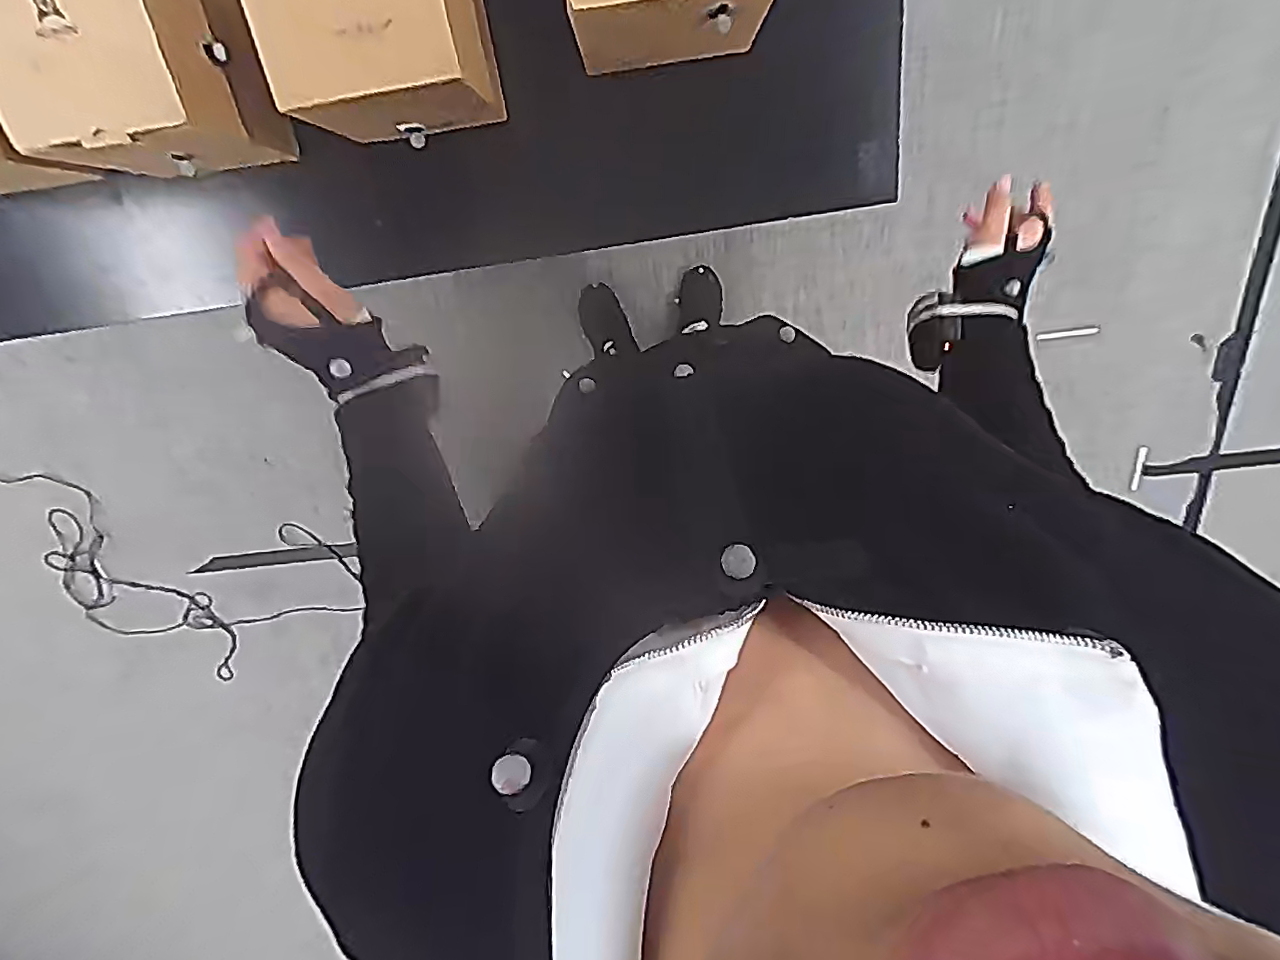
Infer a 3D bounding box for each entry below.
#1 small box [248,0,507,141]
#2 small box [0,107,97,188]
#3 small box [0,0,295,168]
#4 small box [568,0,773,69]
[{"bbox_3d":[-0.238,-0.441,0.502,0.168,0.176,0.179,-8,114,4],"label":"small box"},{"bbox_3d":[-0.705,-0.387,0.520,0.179,0.176,0.168,-7,113,2],"label":"small box"},{"bbox_3d":[-0.474,-0.408,0.513,0.168,0.176,0.179,-7,113,2],"label":"small box"},{"bbox_3d":[0.020,-0.493,0.476,0.179,0.176,0.168,-6,113,3],"label":"small box"}]
